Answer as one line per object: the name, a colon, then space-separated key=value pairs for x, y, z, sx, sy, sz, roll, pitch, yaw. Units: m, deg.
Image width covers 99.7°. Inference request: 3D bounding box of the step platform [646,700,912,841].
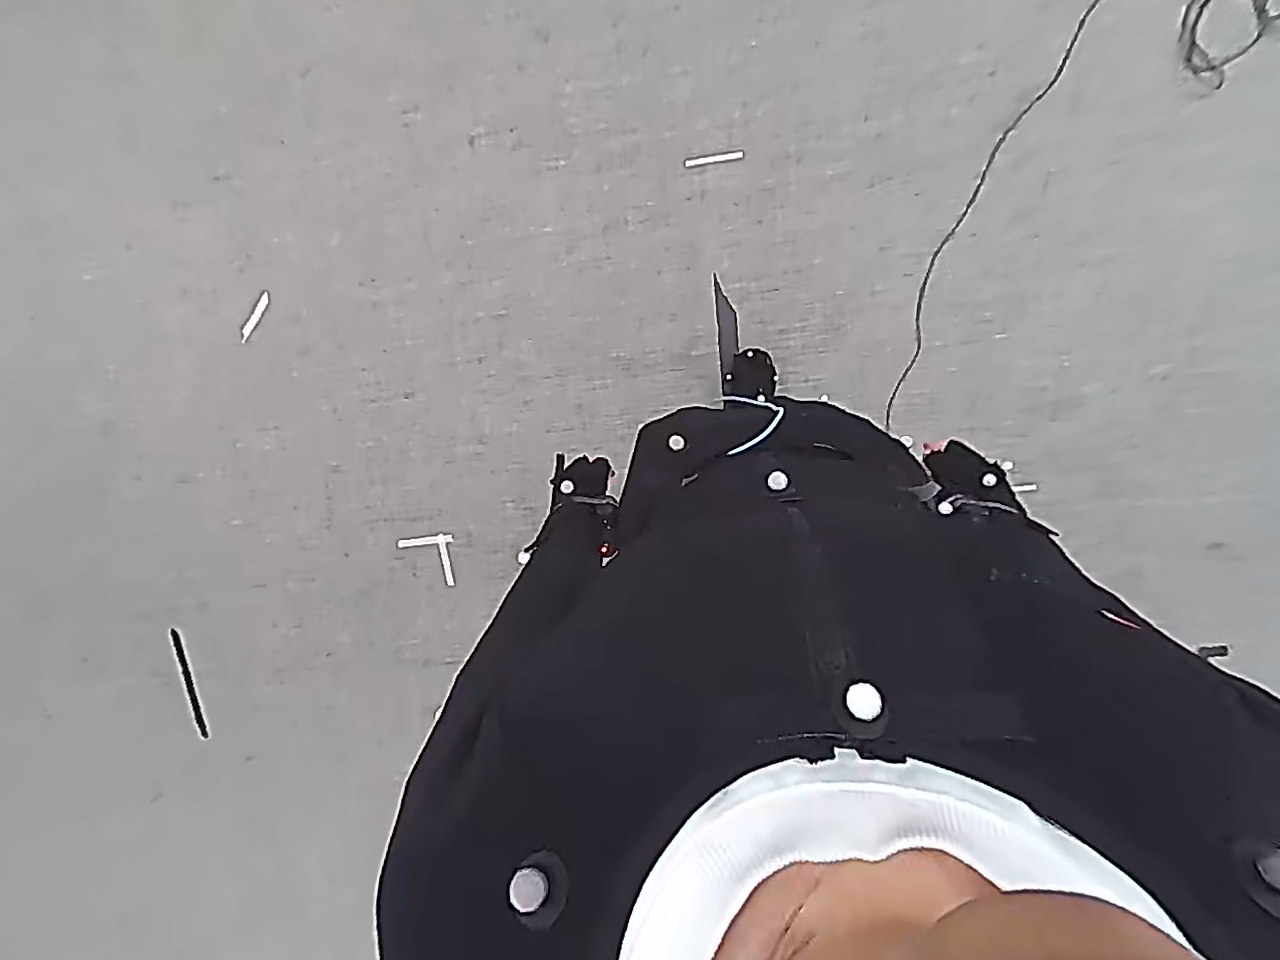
step platform: x=0.358 y=0.790 z=1.466 sx=0.684 sy=0.204 sz=0.286 roll=-6 pitch=99 yaw=10
